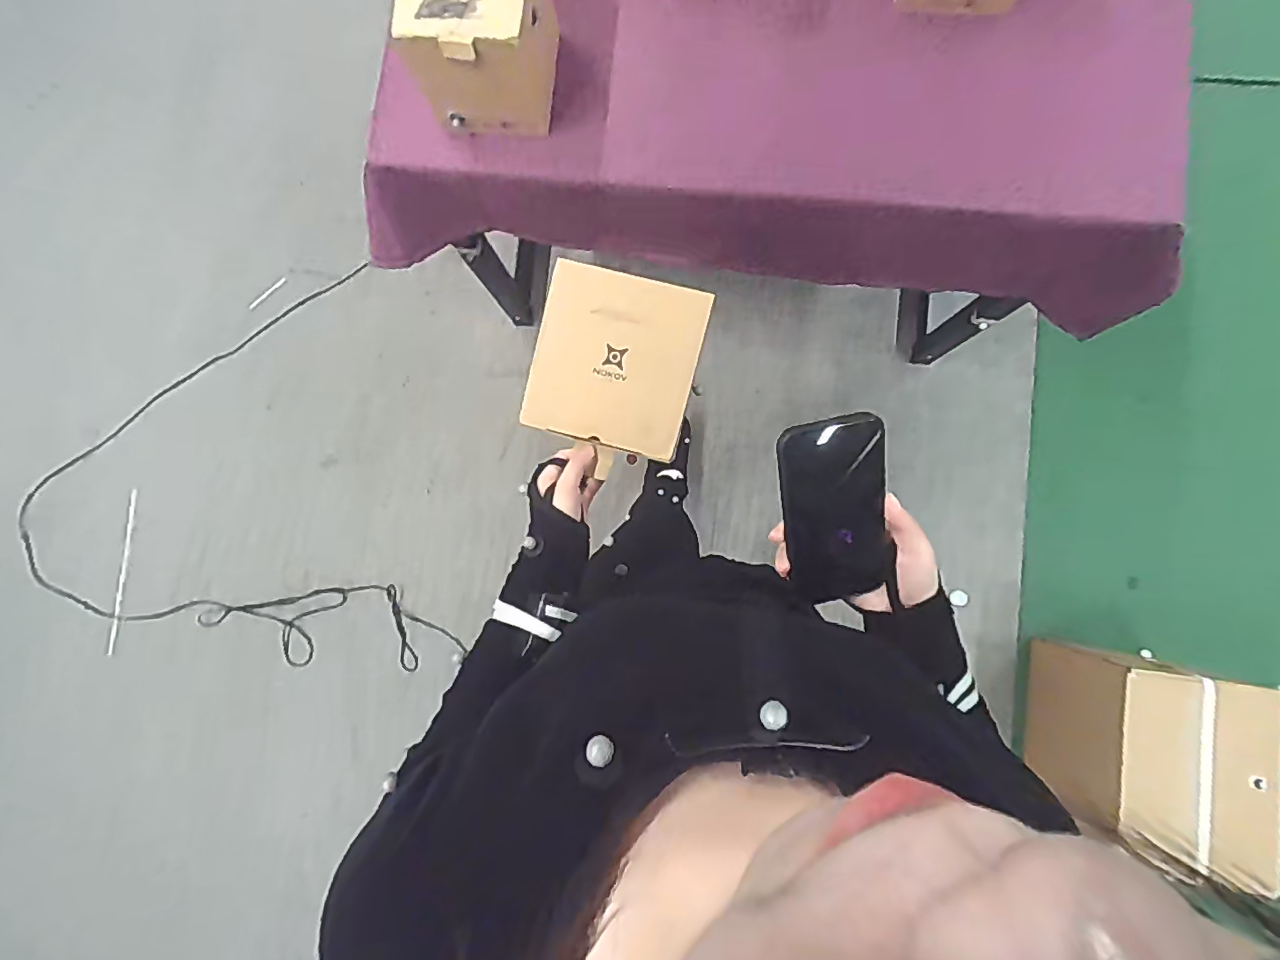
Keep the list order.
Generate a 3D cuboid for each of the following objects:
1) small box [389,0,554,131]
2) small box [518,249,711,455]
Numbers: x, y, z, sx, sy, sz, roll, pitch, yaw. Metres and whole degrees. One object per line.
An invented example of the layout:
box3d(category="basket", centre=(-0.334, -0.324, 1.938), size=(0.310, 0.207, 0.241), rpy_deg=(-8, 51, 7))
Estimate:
box3d(category="small box", centre=(-0.222, -0.625, 0.755), size=(0.168, 0.176, 0.179), rpy_deg=(5, 85, 3))
box3d(category="small box", centre=(-0.020, -0.135, 0.628), size=(0.168, 0.176, 0.179), rpy_deg=(16, 95, 3))
